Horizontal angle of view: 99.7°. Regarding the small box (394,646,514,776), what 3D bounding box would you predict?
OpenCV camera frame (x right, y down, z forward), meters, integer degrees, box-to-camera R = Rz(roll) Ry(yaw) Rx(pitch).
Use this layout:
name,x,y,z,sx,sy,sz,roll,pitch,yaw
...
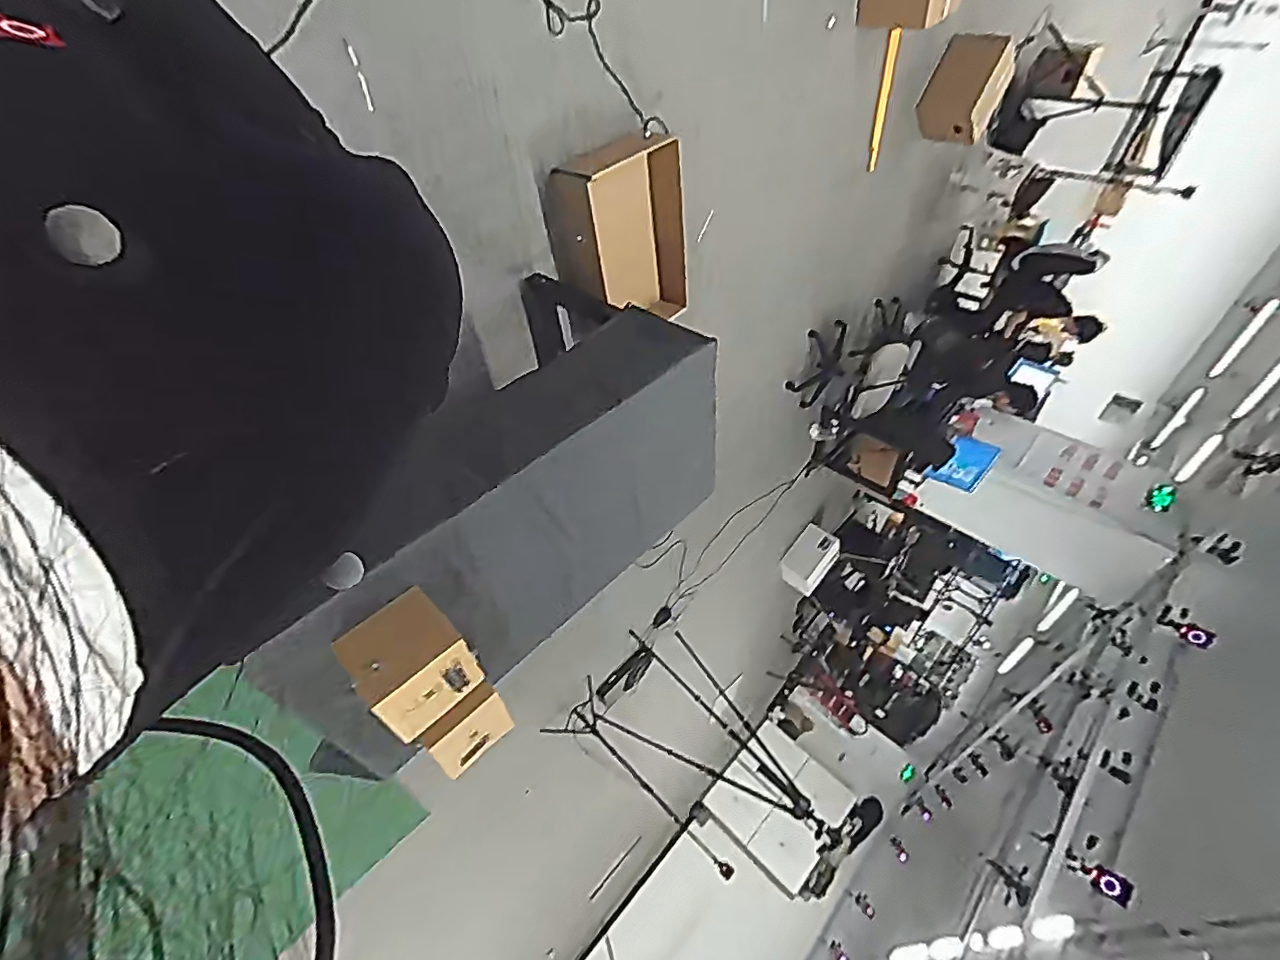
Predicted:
name,x,y,z,sx,sy,sz,roll,pitch,yaw
small box,-0.409,0.505,1.197,0.168,0.176,0.179,-37,143,-30
